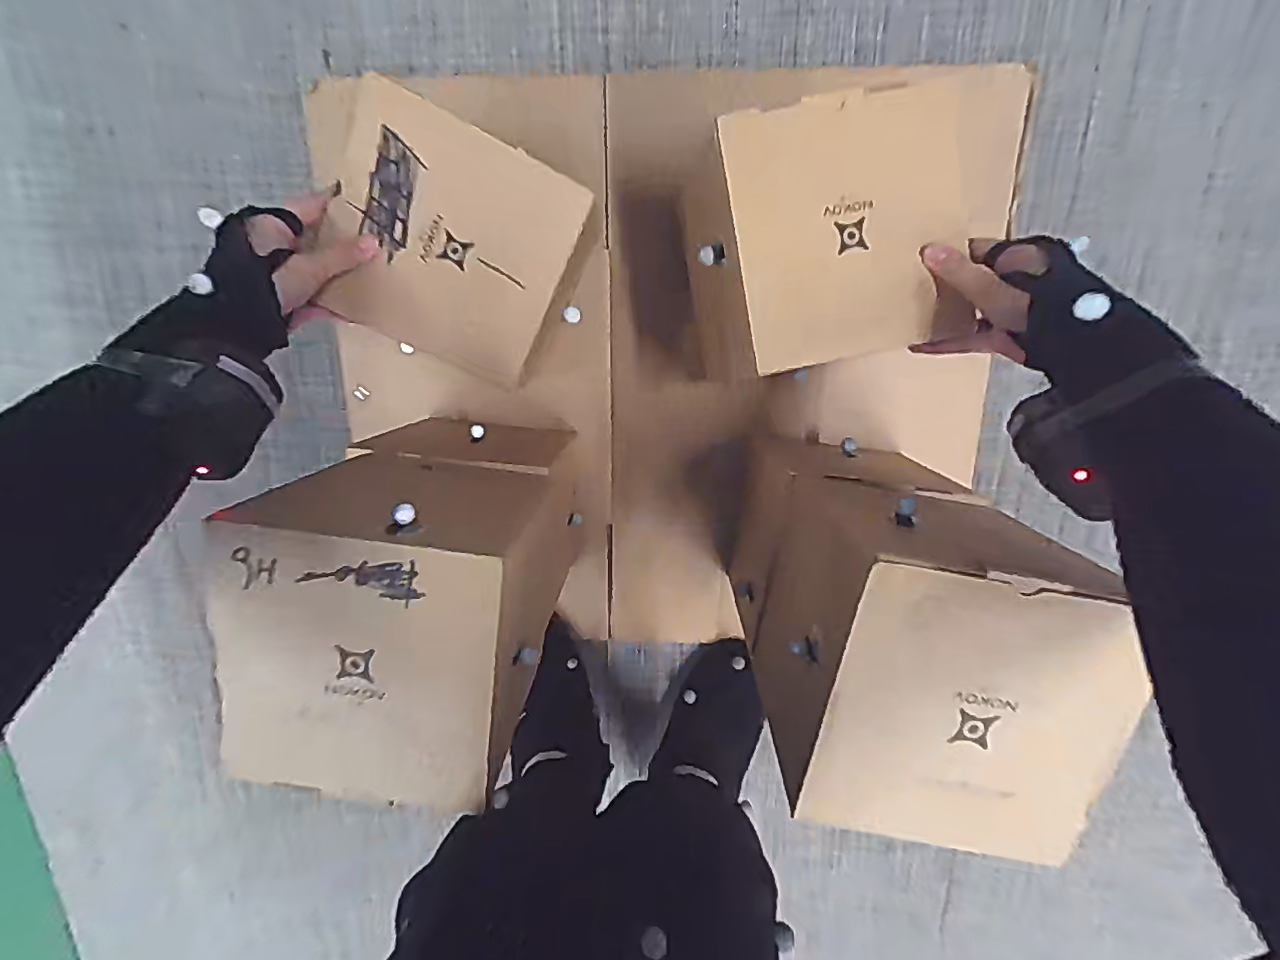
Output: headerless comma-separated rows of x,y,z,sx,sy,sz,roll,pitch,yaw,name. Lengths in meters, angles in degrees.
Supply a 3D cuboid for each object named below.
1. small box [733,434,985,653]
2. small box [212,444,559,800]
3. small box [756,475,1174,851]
0.192,0.062,0.536,0.168,0.176,0.179,8,104,0,small box
-0.160,0.084,0.392,0.168,0.176,0.179,8,105,0,small box
0.188,0.106,0.380,0.168,0.176,0.179,11,105,0,small box
